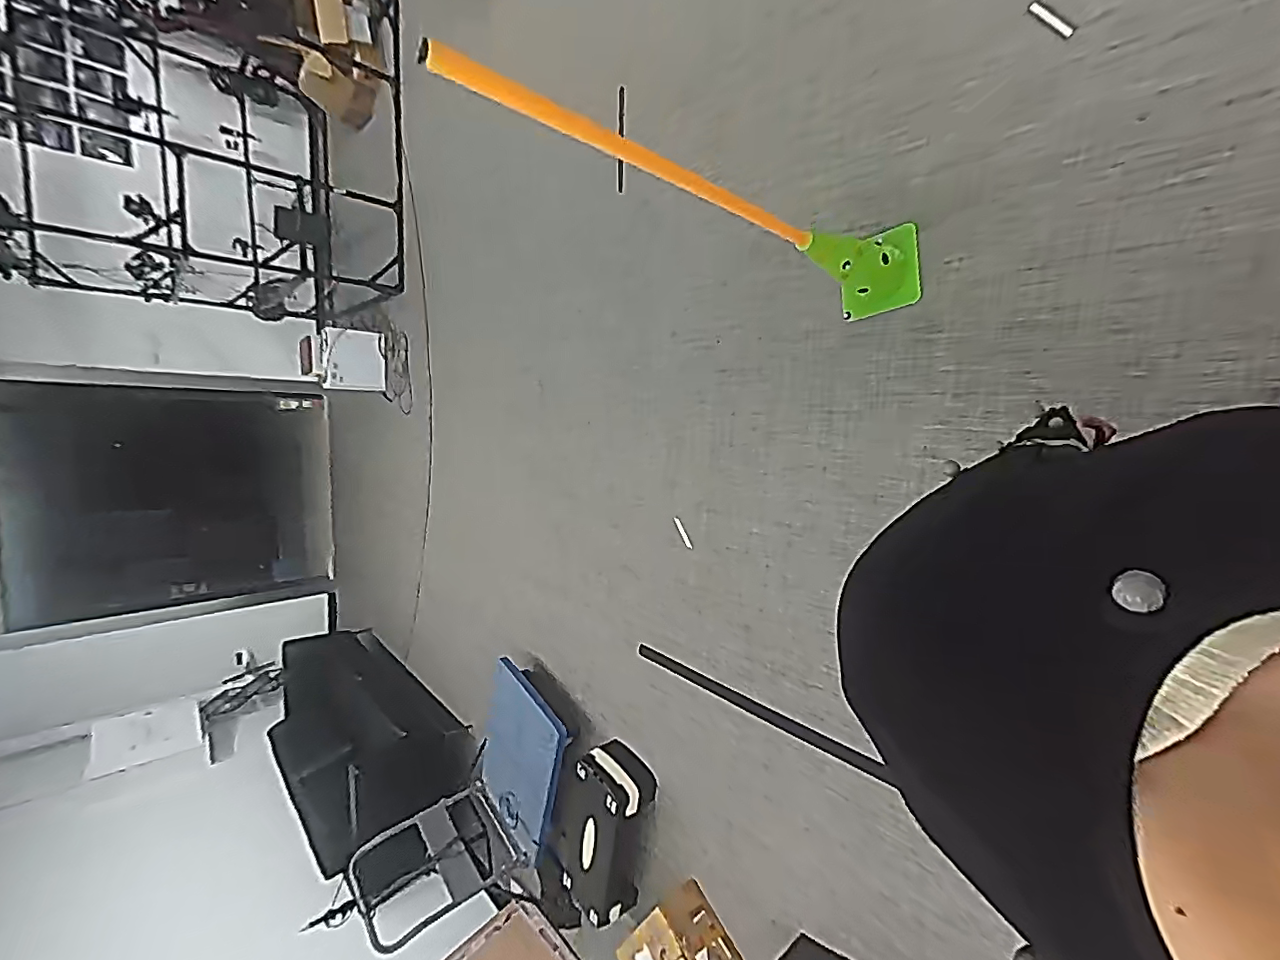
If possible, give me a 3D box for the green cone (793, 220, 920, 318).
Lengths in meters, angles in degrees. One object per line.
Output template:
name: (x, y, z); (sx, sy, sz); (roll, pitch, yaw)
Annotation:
green cone: (0.479, -0.528, 1.265); (0.200, 0.368, 0.202); (-6, 87, 48)
